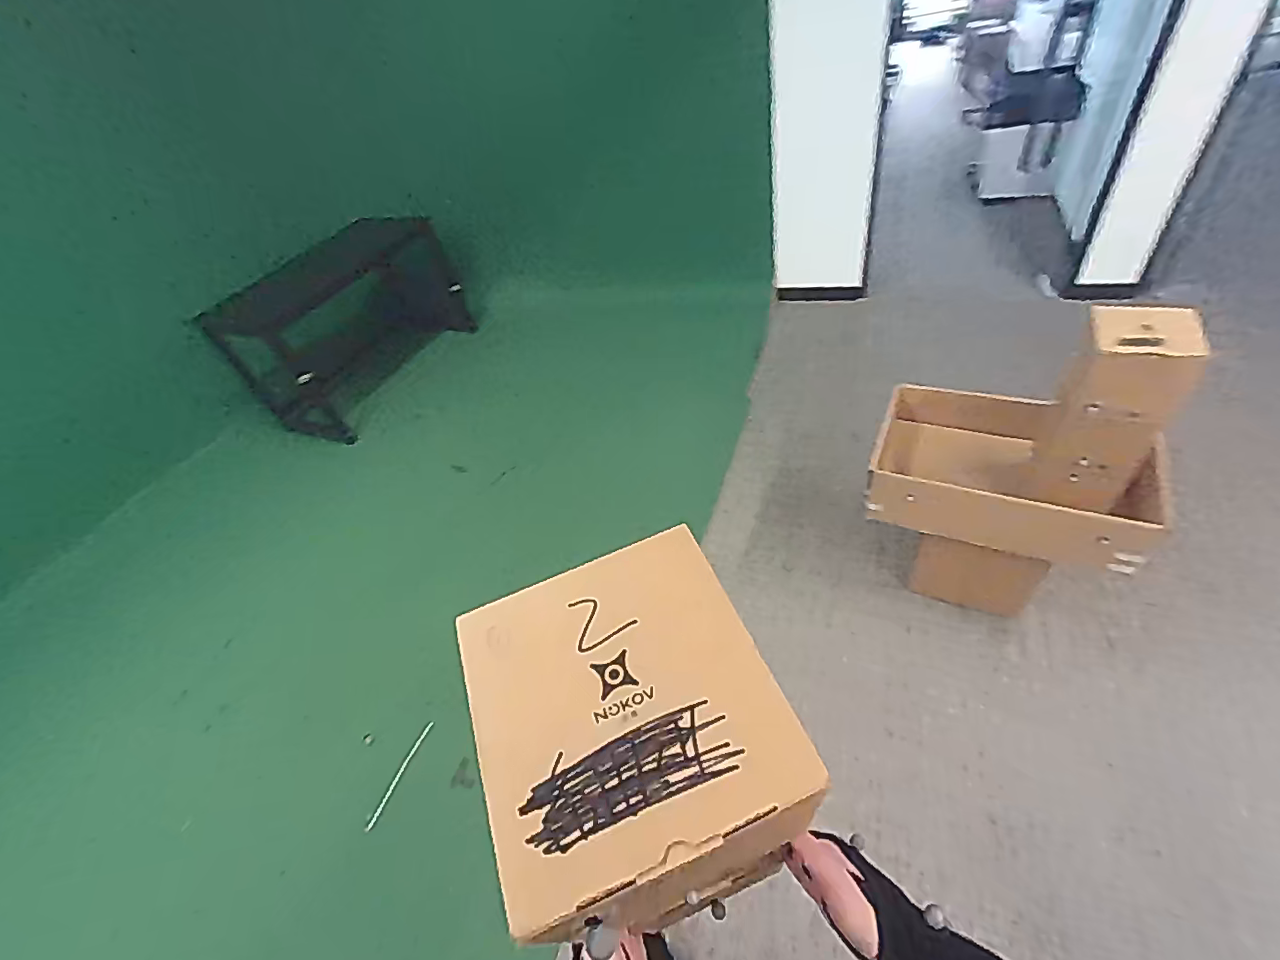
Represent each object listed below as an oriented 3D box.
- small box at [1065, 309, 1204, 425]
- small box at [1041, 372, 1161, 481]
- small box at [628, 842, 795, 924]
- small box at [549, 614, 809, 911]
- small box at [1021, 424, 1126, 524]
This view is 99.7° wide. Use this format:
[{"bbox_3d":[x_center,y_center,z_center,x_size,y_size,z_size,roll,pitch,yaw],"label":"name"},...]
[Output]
[{"bbox_3d":[1.018,-0.237,1.131,0.168,0.176,0.179,12,50,25],"label":"small box"},{"bbox_3d":[1.051,-0.127,1.249,0.168,0.176,0.179,12,51,25],"label":"small box"},{"bbox_3d":[0.054,0.366,0.611,0.168,0.176,0.179,-20,50,-6],"label":"small box"},{"bbox_3d":[0.029,0.258,0.493,0.168,0.176,0.179,-19,50,-6],"label":"small box"},{"bbox_3d":[1.084,-0.018,1.365,0.168,0.176,0.179,11,50,25],"label":"small box"}]
